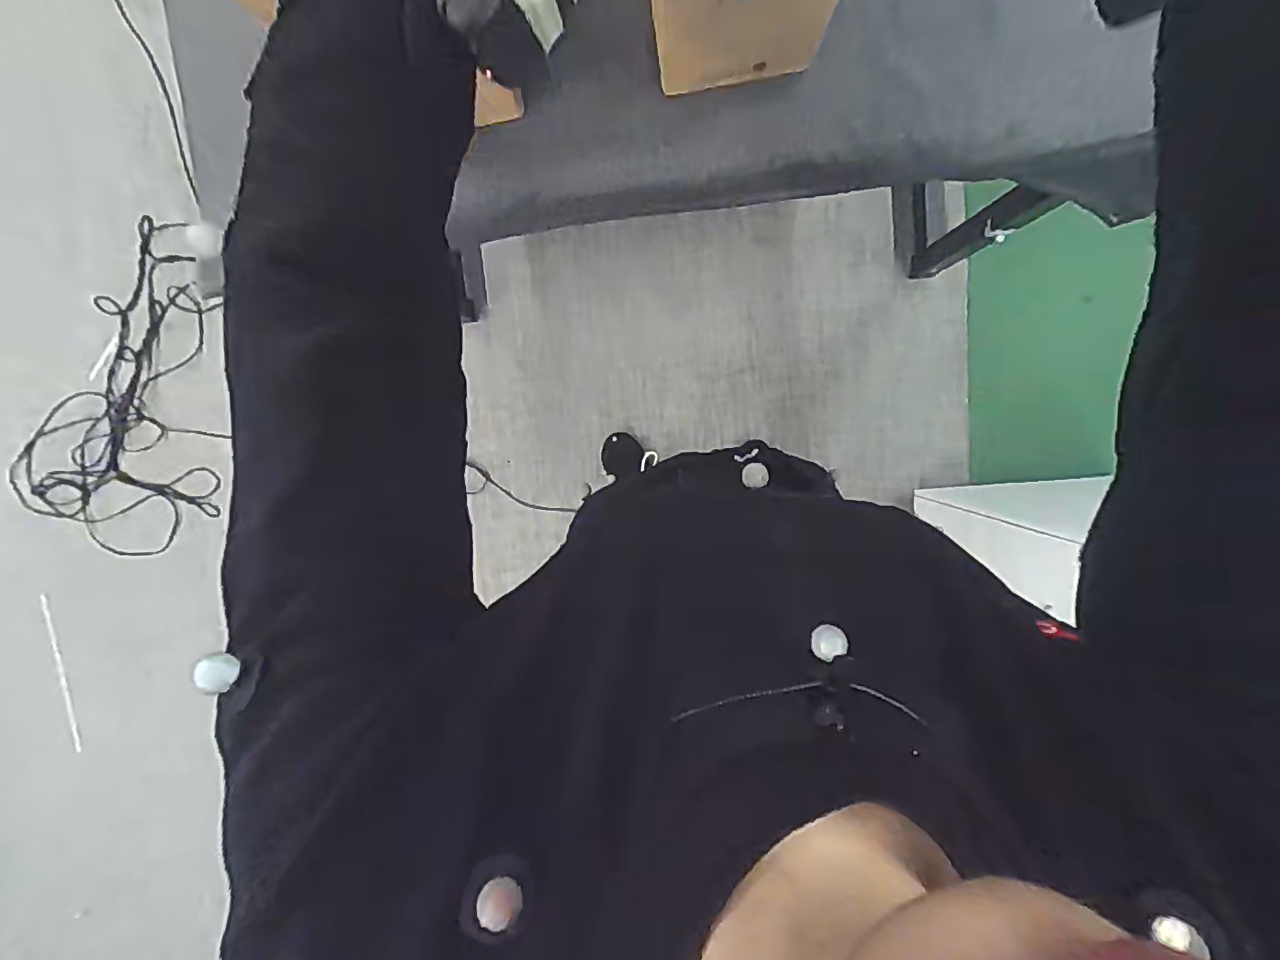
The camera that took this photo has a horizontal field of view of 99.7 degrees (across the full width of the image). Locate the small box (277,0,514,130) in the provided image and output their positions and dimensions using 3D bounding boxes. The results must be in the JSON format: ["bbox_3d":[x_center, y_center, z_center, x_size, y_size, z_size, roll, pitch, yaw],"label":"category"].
[{"bbox_3d":[-0.234,-0.474,0.525,0.168,0.176,0.179,-10,95,3],"label":"small box"}]

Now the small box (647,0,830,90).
[{"bbox_3d":[0.086,-0.519,0.508,0.168,0.176,0.179,-8,95,3],"label":"small box"}]
